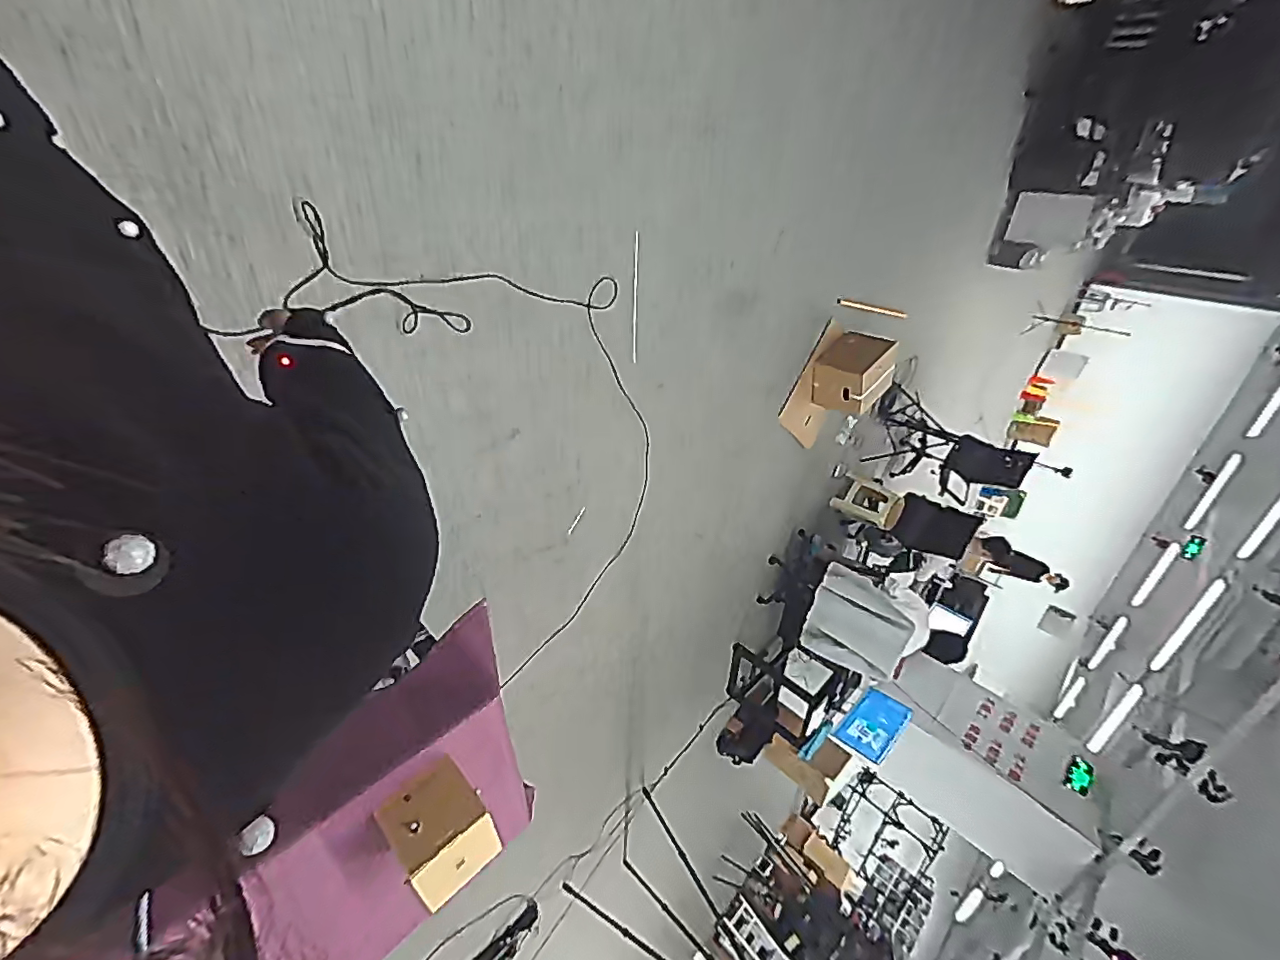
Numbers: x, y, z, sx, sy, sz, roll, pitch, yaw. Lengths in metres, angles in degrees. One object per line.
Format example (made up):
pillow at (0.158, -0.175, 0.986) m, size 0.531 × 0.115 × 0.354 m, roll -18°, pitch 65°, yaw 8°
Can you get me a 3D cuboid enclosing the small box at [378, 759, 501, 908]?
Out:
small box at (-0.416, 0.722, 1.125) m, size 0.168 × 0.176 × 0.179 m, roll -30°, pitch 134°, yaw -34°
